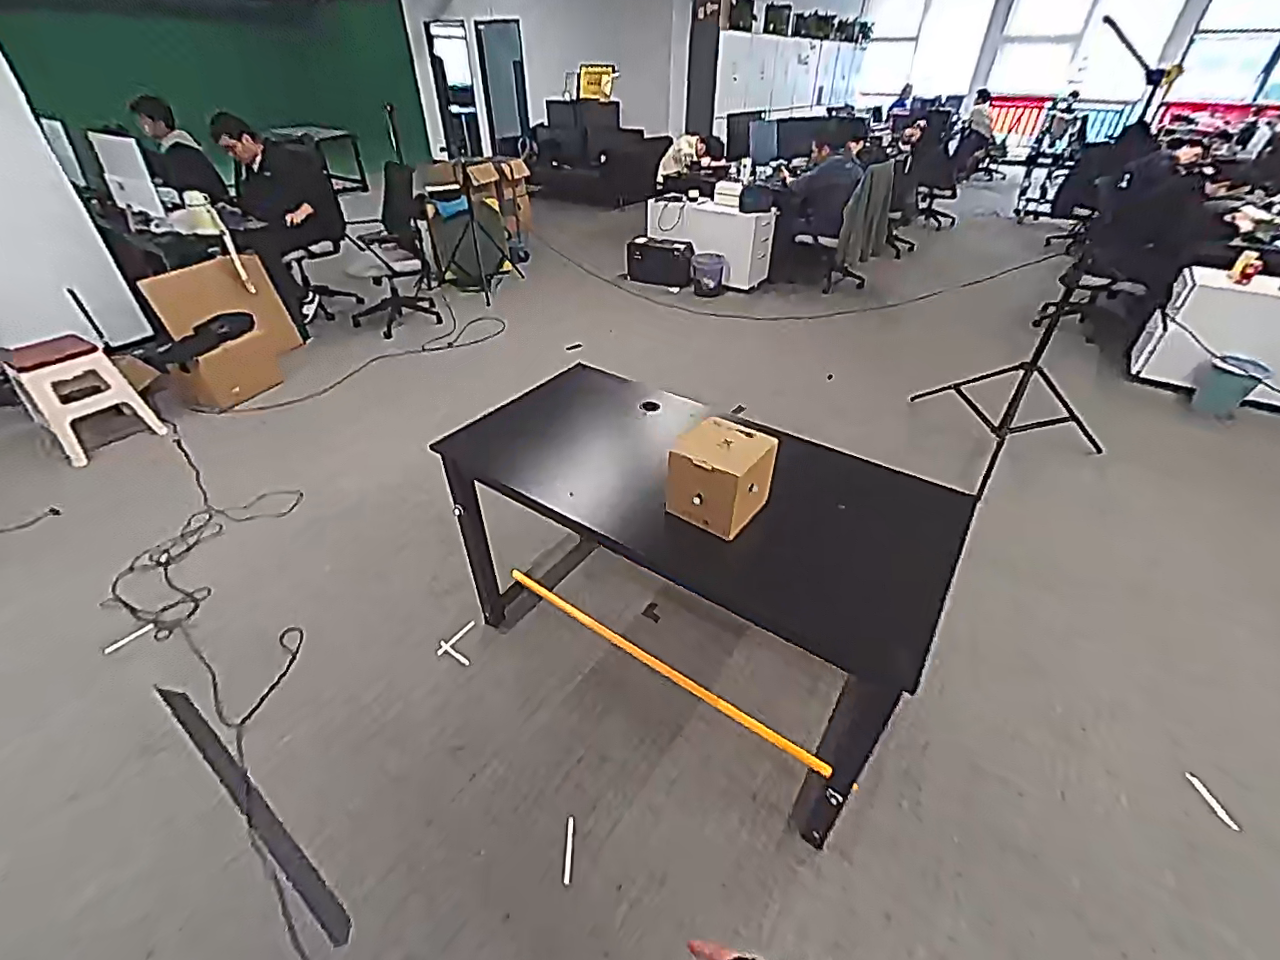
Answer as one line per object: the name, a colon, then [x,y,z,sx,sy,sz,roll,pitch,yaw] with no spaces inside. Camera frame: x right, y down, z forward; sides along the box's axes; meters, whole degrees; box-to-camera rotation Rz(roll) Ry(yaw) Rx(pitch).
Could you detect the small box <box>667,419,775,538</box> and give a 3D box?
small box: [0.173,-0.003,1.173,0.168,0.176,0.179,24,44,29]
